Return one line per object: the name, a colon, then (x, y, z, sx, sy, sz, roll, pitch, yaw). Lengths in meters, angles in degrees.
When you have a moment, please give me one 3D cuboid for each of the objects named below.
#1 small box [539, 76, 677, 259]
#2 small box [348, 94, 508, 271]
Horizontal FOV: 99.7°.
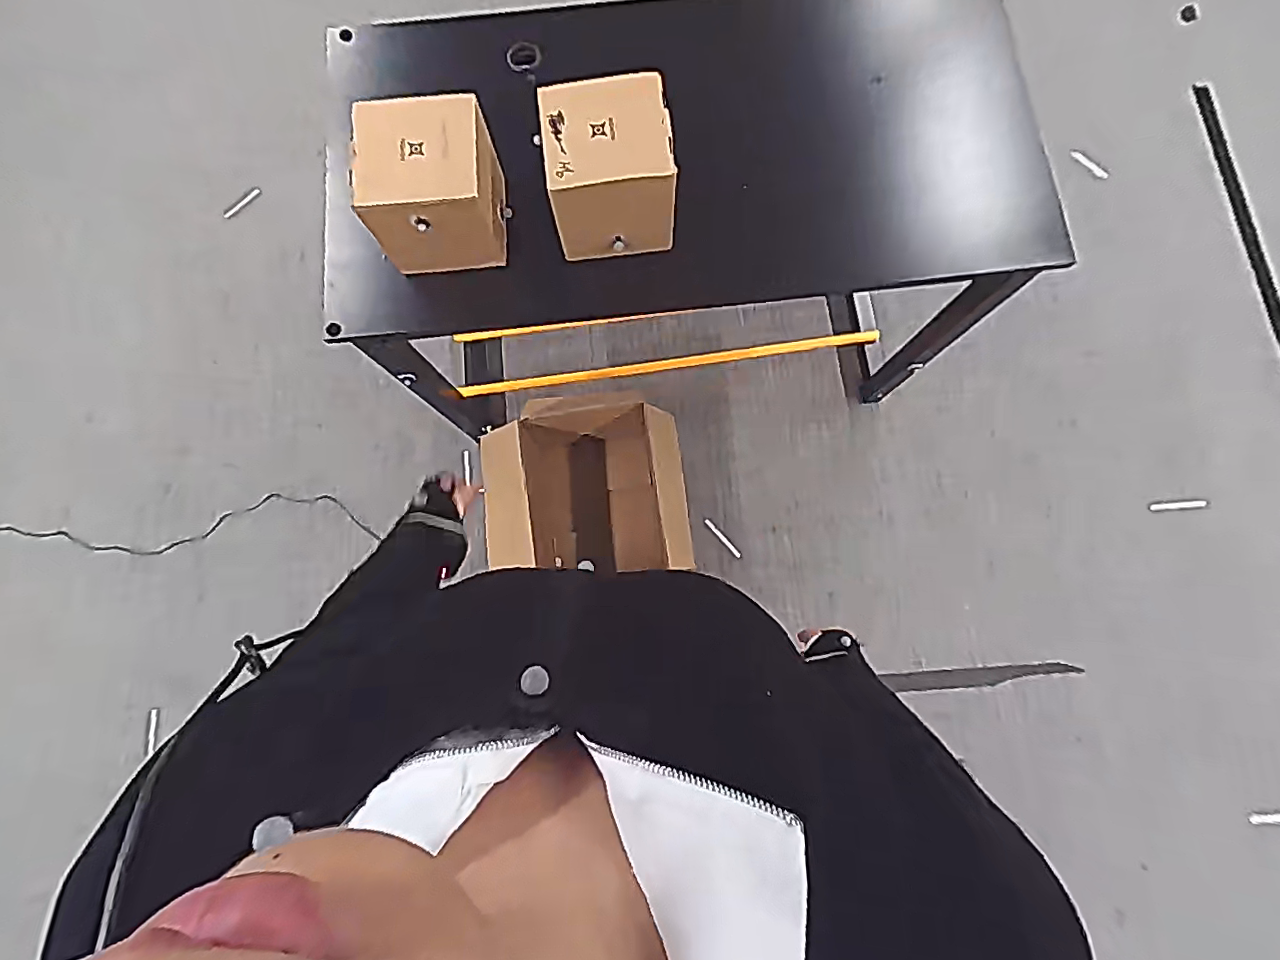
small box: (-0.046, -0.457, 0.812, 0.179, 0.176, 0.168, -7, 79, -1)
small box: (-0.309, -0.433, 0.812, 0.179, 0.176, 0.168, -5, 80, -1)
